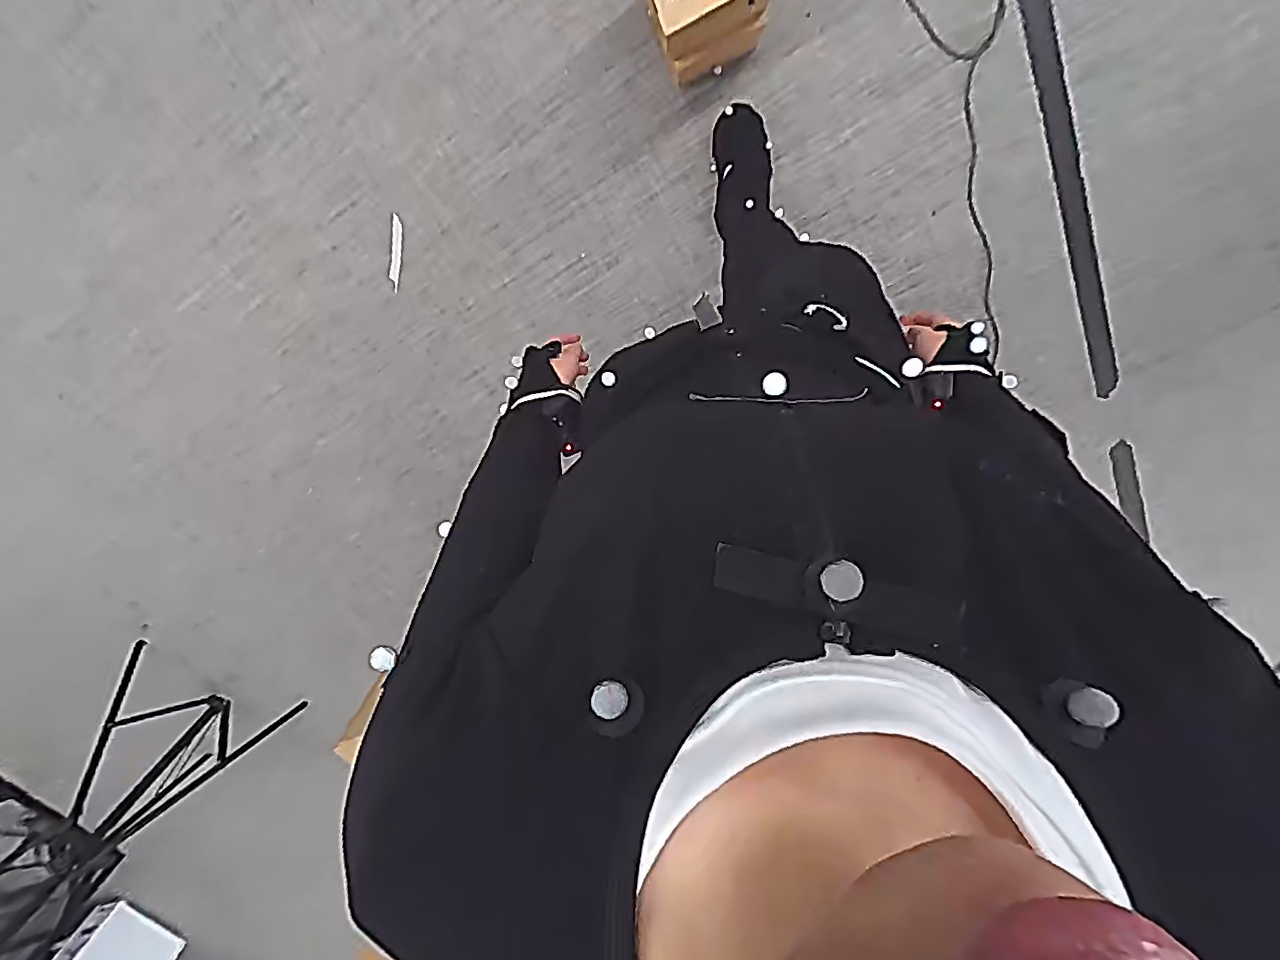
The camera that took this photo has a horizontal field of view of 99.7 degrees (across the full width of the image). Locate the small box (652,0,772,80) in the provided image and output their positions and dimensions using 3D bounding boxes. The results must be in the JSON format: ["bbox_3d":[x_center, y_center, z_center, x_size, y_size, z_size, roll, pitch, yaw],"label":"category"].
[{"bbox_3d":[0.112,-0.830,0.926,0.168,0.176,0.179,-19,116,14],"label":"small box"}]
